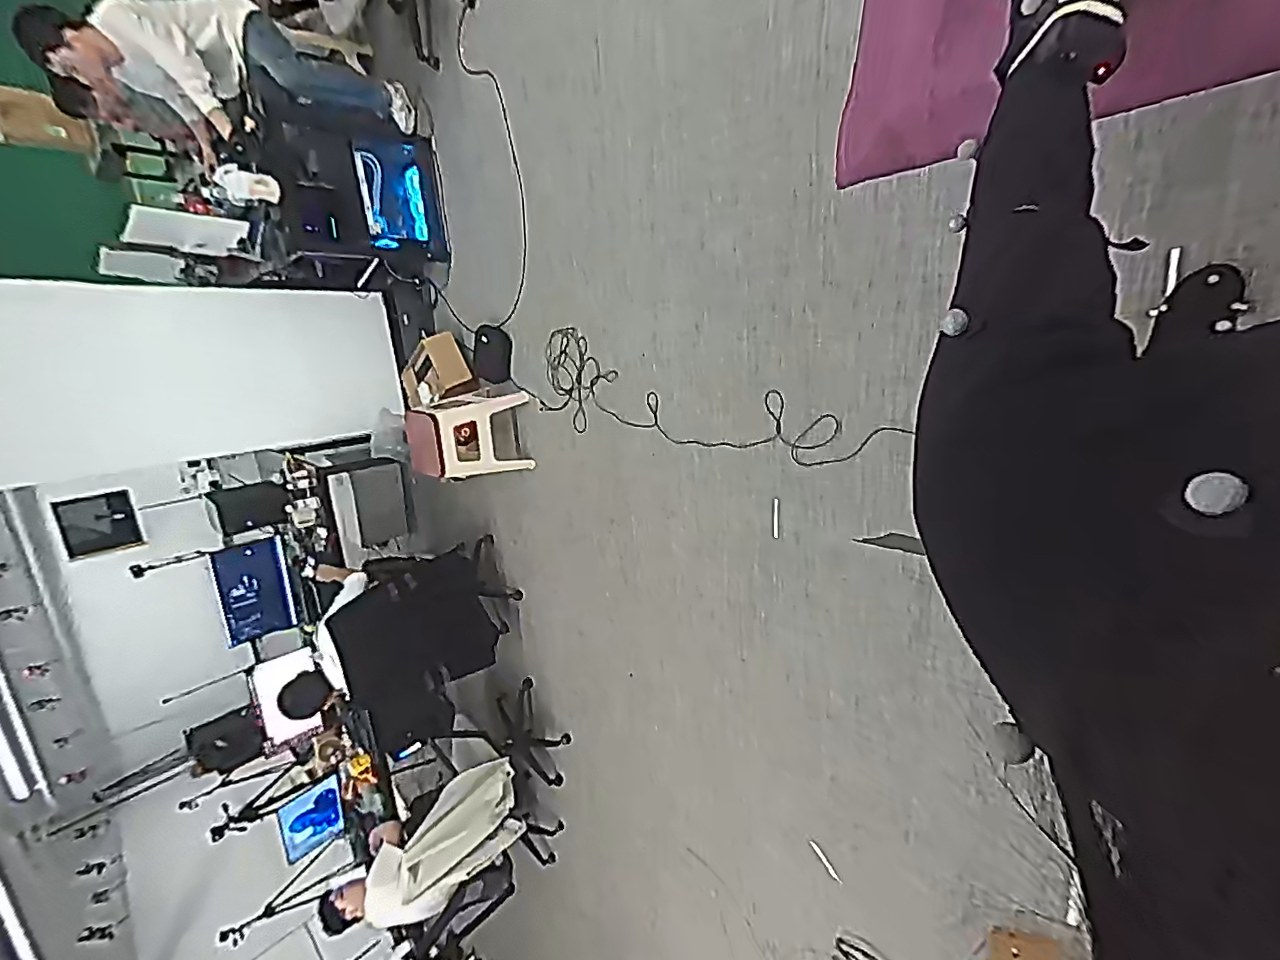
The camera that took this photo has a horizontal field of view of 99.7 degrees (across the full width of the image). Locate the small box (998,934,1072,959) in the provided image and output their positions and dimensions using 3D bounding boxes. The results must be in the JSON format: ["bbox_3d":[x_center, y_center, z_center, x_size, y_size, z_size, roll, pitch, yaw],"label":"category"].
[{"bbox_3d":[1.099,1.402,1.476,0.168,0.176,0.179,-30,81,46],"label":"small box"}]
